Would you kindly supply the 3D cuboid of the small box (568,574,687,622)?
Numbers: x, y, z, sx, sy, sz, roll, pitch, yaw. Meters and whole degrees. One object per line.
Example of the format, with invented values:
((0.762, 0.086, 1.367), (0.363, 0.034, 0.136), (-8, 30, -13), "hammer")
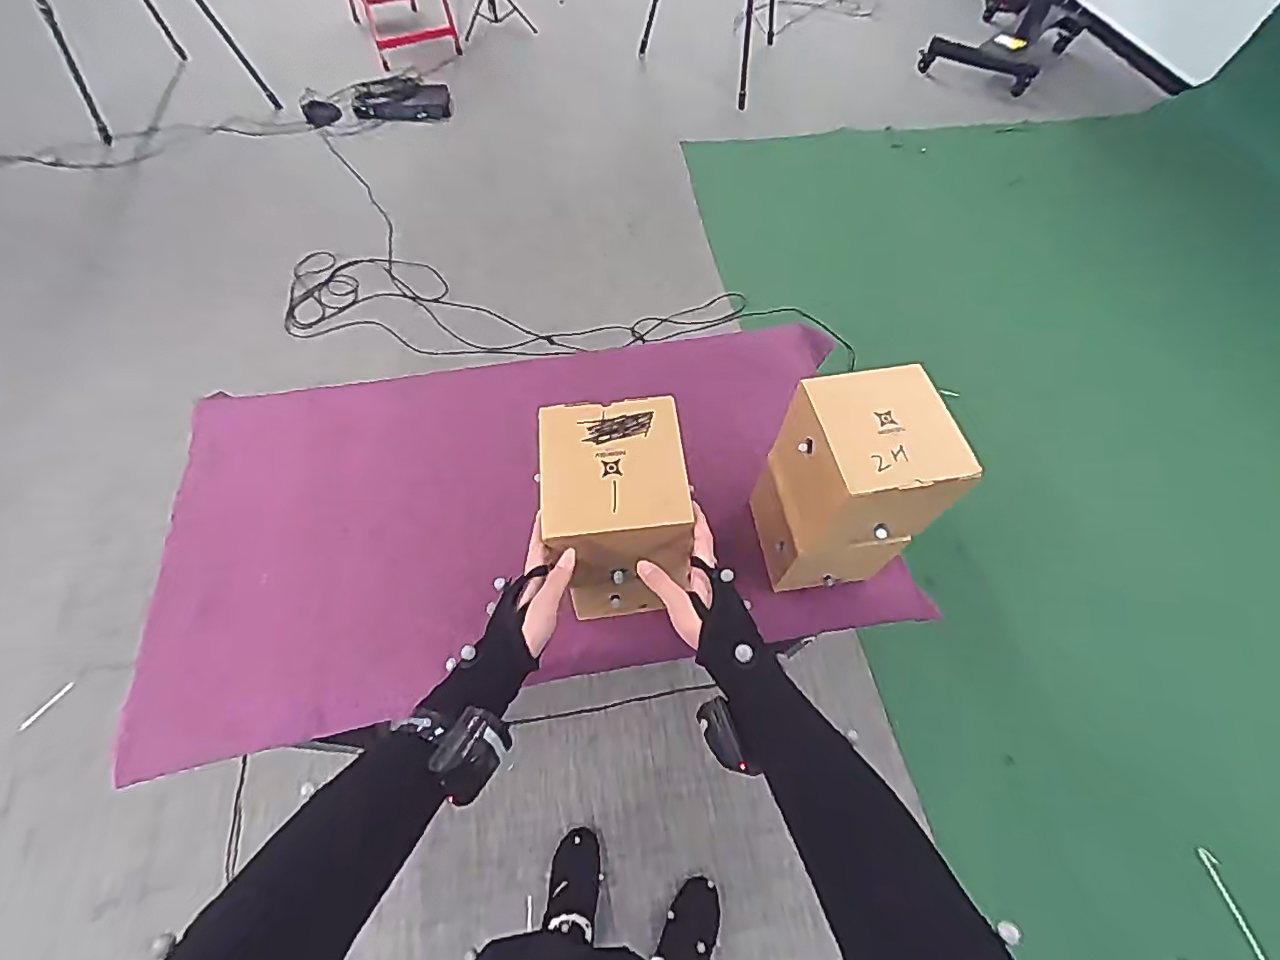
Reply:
((-0.027, 0.111, 0.837), (0.168, 0.176, 0.179), (-6, 59, -5), "small box")

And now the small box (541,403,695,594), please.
((-0.028, 0.028, 0.677), (0.168, 0.176, 0.179), (-6, 60, -1), "small box")

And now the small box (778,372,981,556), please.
((0.299, -0.018, 0.726), (0.168, 0.176, 0.179), (-8, 60, -5), "small box")
